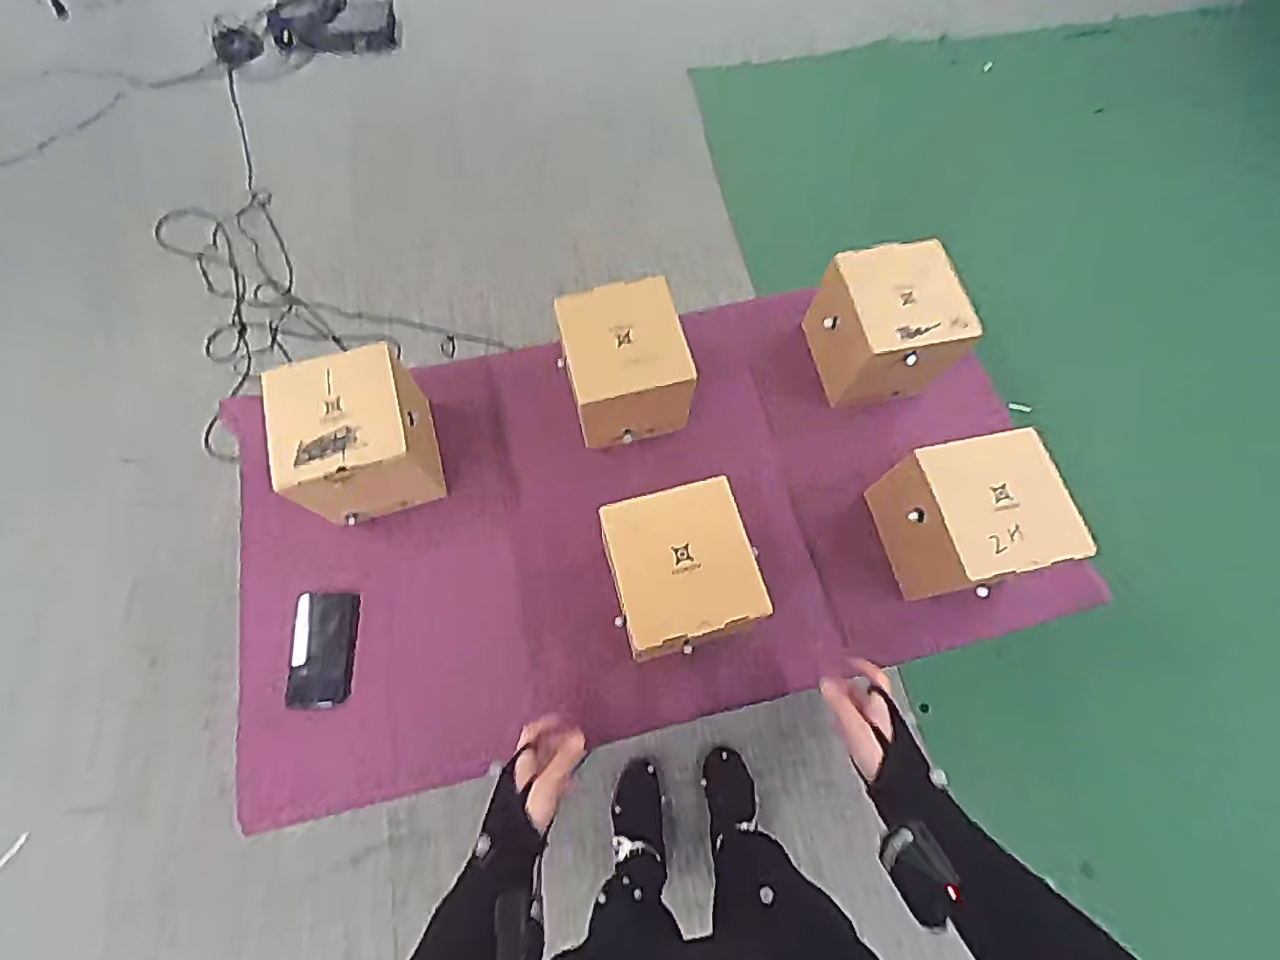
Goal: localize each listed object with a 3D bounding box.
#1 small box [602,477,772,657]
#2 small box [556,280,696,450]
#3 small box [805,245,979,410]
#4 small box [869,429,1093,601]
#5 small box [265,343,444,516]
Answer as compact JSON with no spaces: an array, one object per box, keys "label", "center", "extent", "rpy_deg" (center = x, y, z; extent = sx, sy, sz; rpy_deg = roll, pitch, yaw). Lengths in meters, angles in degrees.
[{"label":"small box","center":[0.049,0.121,0.711],"extent":[0.168,0.176,0.179],"rpy_deg":[-14,70,-7]},{"label":"small box","center":[-0.024,-0.168,0.821],"extent":[0.168,0.176,0.179],"rpy_deg":[-13,71,-5]},{"label":"small box","center":[0.380,-0.235,0.855],"extent":[0.168,0.176,0.179],"rpy_deg":[-10,69,-4]},{"label":"small box","center":[0.443,0.055,0.740],"extent":[0.168,0.176,0.179],"rpy_deg":[-10,69,-4]},{"label":"small box","center":[-0.394,-0.060,0.769],"extent":[0.168,0.176,0.179],"rpy_deg":[-16,70,-8]}]
